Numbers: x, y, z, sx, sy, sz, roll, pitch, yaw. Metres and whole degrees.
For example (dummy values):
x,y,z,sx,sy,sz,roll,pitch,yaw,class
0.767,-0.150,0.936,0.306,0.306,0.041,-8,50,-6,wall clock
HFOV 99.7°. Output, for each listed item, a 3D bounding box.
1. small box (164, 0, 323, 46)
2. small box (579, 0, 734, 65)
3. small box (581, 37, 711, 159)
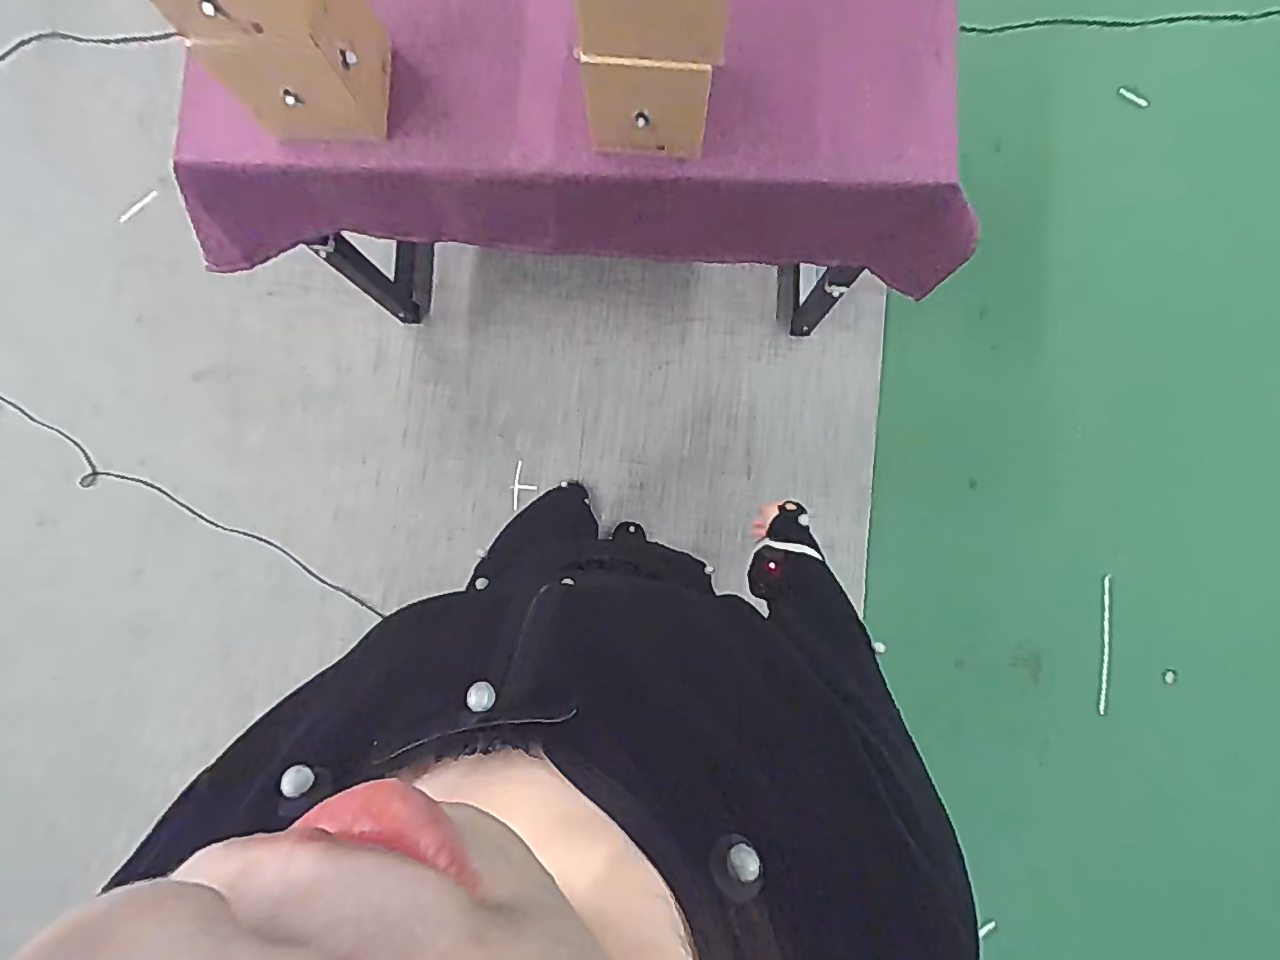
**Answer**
x,y,z,sx,sy,sz,roll,pitch,yaw,class
-0.472,-0.634,0.595,0.168,0.176,0.179,2,86,0,small box
0.024,-0.600,0.591,0.179,0.176,0.168,6,86,0,small box
0.016,-0.585,0.755,0.168,0.176,0.179,6,86,0,small box
